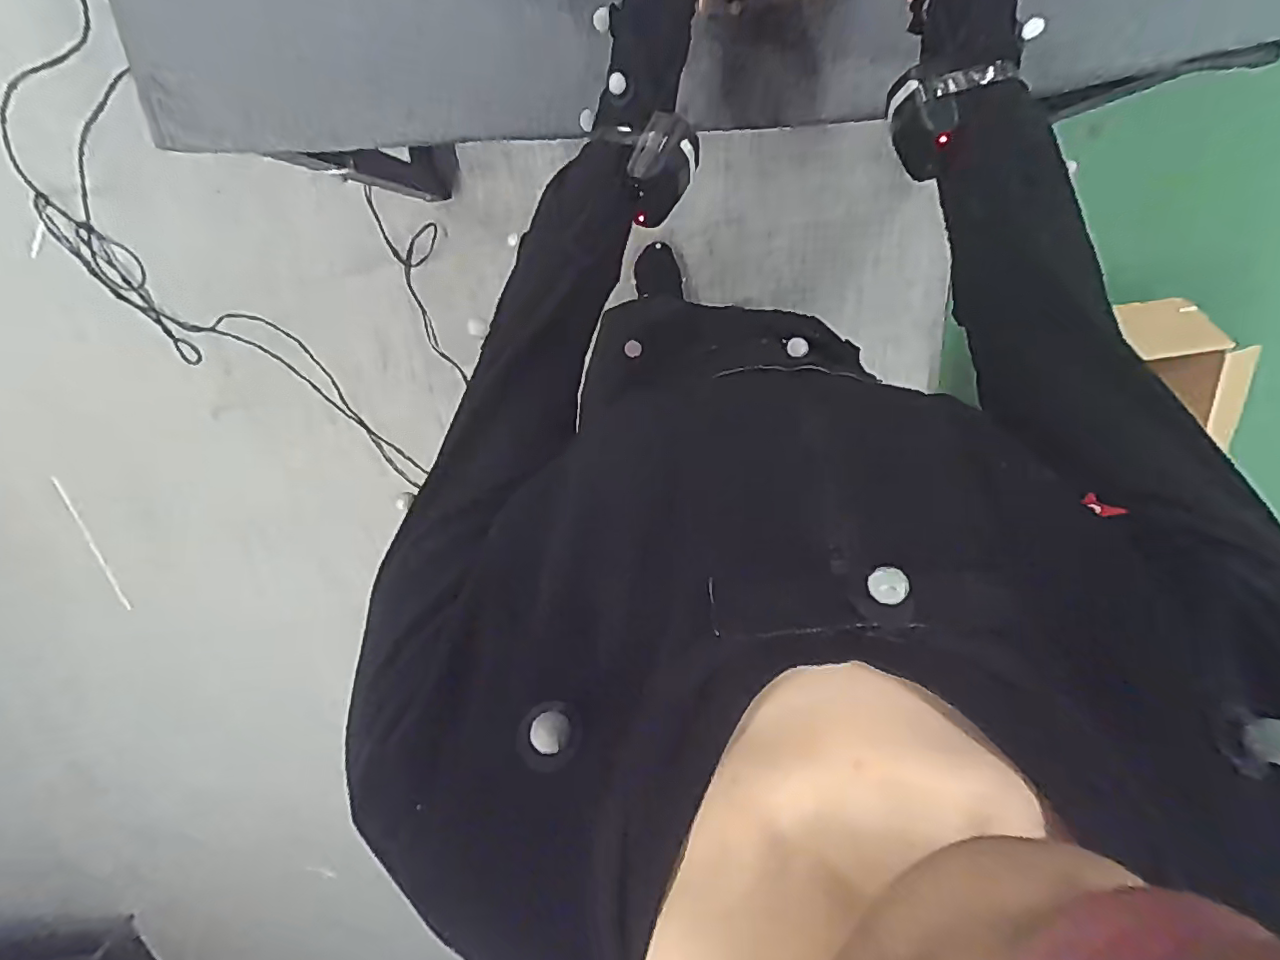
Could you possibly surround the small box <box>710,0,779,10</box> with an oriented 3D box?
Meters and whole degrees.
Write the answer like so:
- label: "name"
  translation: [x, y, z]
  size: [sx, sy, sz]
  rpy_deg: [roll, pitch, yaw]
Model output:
- label: "small box"
  translation: [0.130, -0.531, 0.445]
  size: [0.168, 0.176, 0.179]
  rpy_deg: [-6, 109, 4]
